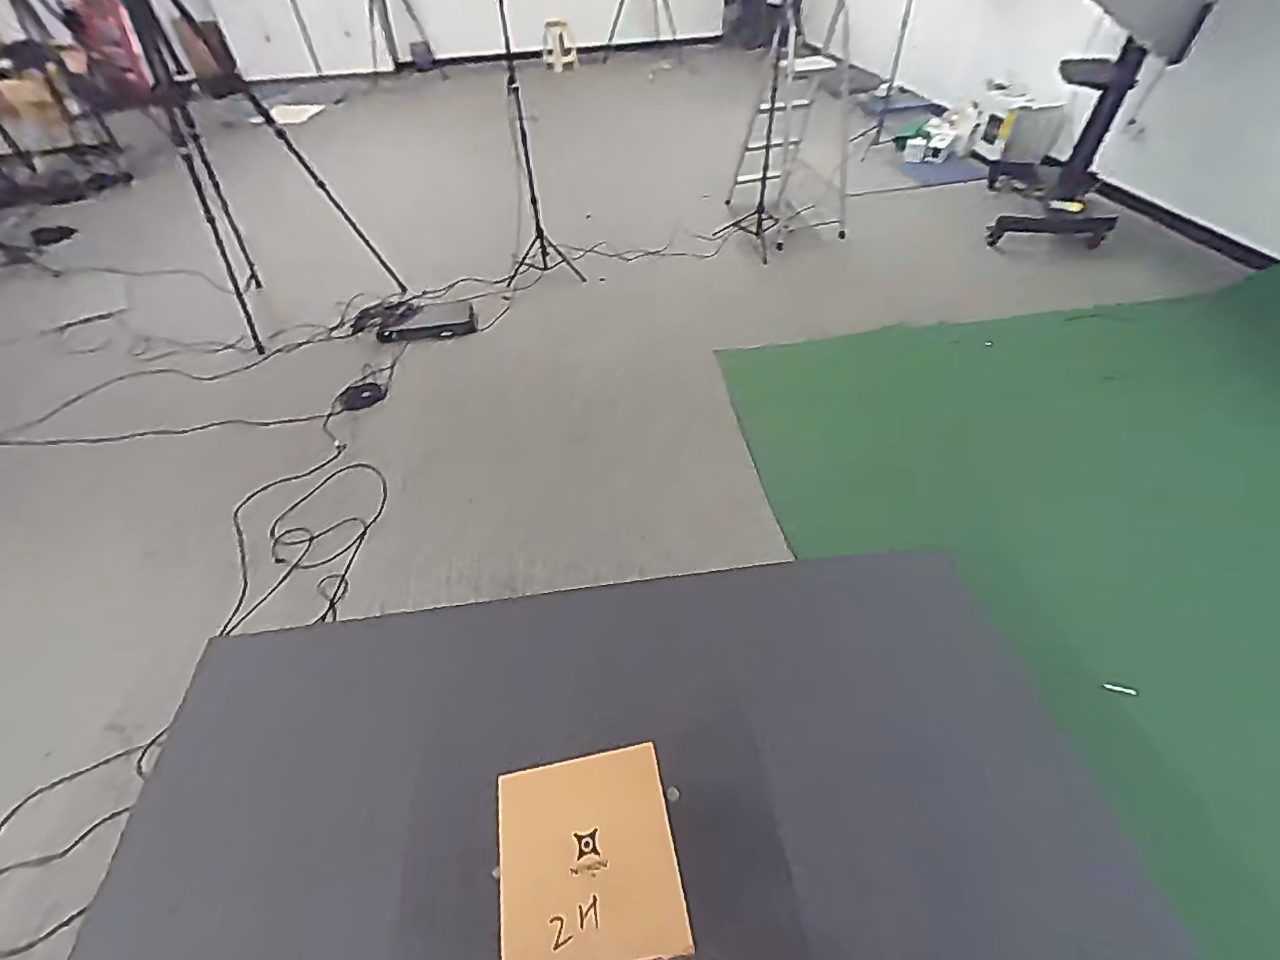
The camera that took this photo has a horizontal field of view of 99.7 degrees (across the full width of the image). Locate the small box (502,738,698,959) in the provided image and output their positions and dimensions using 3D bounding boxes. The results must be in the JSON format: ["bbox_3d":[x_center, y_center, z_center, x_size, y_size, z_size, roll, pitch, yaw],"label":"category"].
[{"bbox_3d":[-0.044,0.400,0.559,0.168,0.176,0.179,-10,46,-6],"label":"small box"}]
